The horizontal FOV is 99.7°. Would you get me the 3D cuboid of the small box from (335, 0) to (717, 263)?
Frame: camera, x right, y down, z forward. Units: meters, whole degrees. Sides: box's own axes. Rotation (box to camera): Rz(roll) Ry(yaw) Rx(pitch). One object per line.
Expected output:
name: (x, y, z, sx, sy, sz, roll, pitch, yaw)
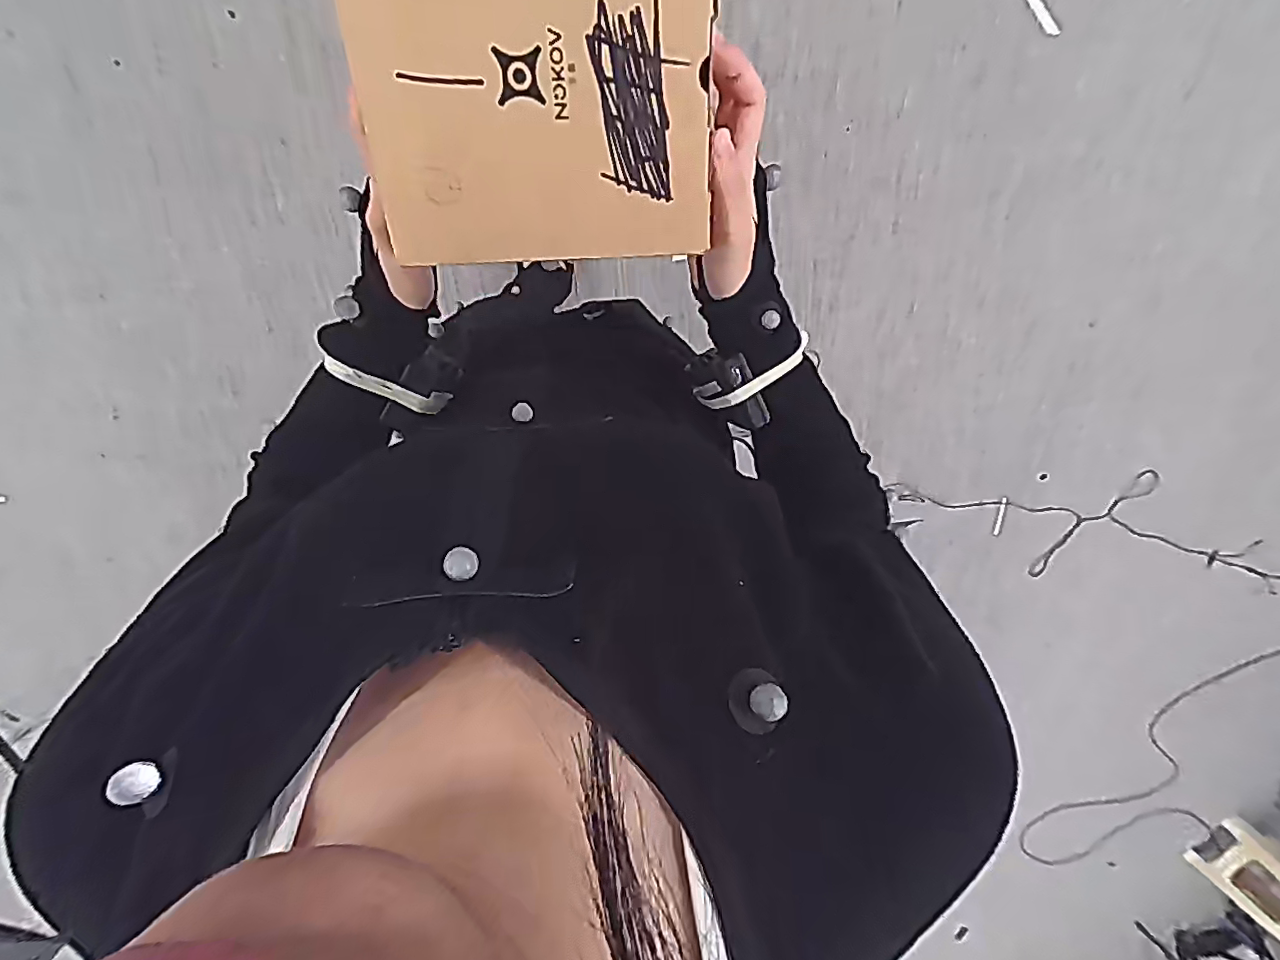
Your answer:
small box: (-0.058, -0.235, 0.330, 0.179, 0.176, 0.168, -4, 120, -4)
